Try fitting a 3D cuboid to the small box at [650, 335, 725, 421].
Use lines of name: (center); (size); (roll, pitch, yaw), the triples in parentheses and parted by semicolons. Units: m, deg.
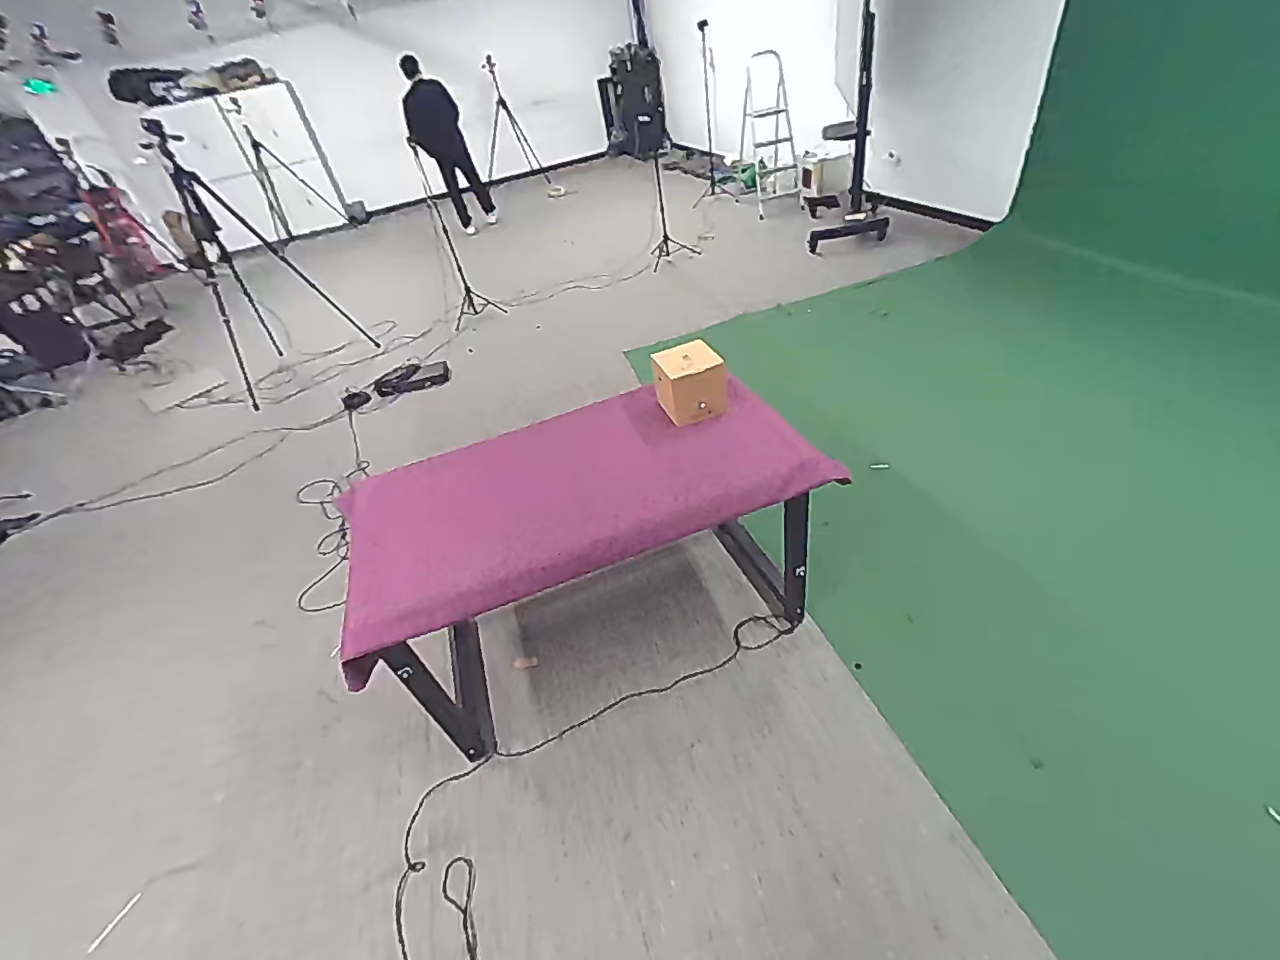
small box: (0.142, -0.302, 1.607); (0.168, 0.176, 0.179); (-20, 41, -8)
